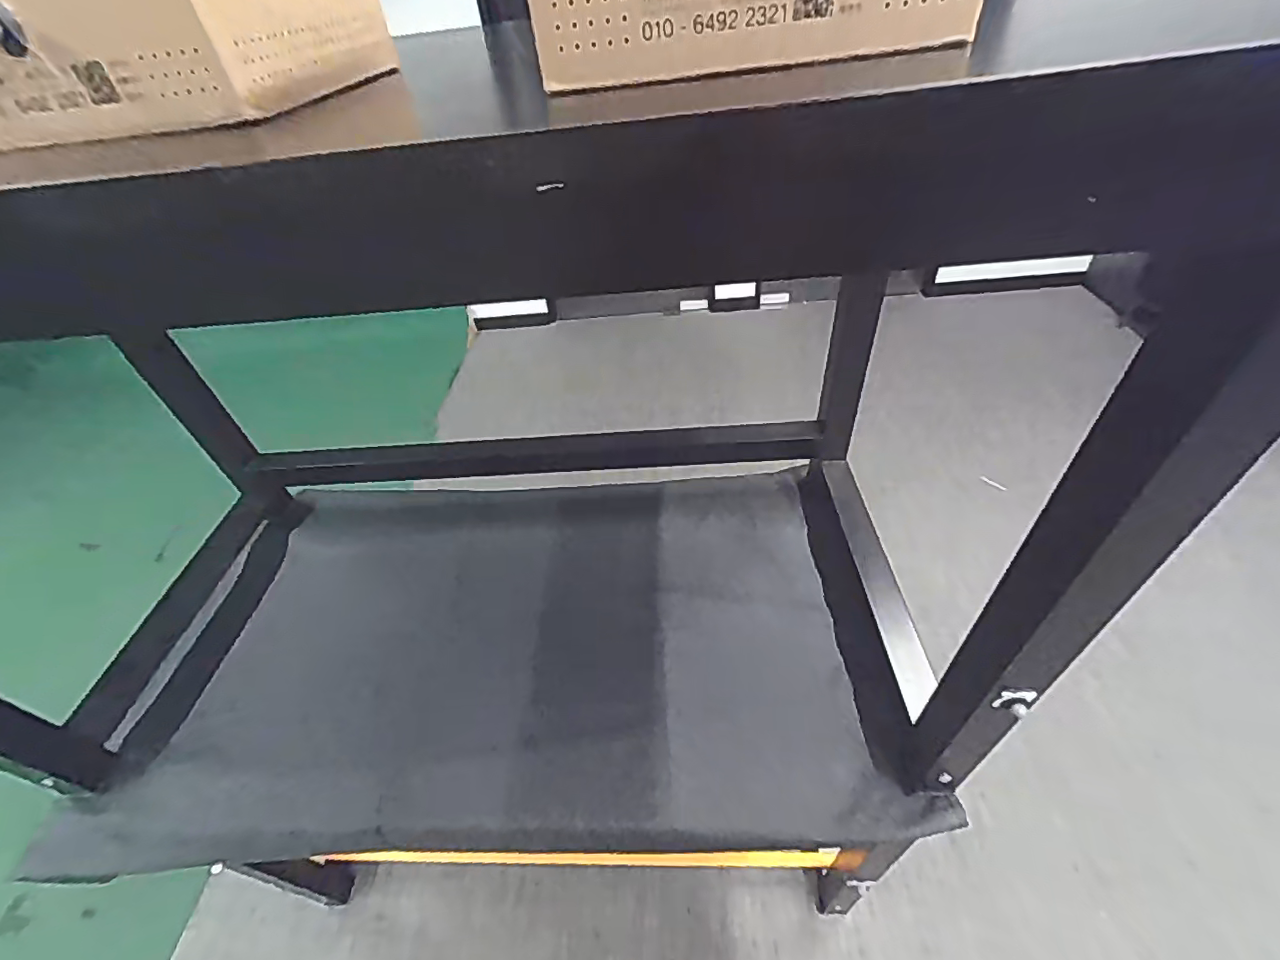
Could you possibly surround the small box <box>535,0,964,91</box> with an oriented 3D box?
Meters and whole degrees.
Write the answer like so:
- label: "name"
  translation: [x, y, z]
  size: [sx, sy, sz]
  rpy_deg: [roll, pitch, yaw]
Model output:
- label: "small box"
  translation: [0.038, -0.272, 0.217]
  size: [0.168, 0.176, 0.179]
  rpy_deg: [-2, 44, 5]
